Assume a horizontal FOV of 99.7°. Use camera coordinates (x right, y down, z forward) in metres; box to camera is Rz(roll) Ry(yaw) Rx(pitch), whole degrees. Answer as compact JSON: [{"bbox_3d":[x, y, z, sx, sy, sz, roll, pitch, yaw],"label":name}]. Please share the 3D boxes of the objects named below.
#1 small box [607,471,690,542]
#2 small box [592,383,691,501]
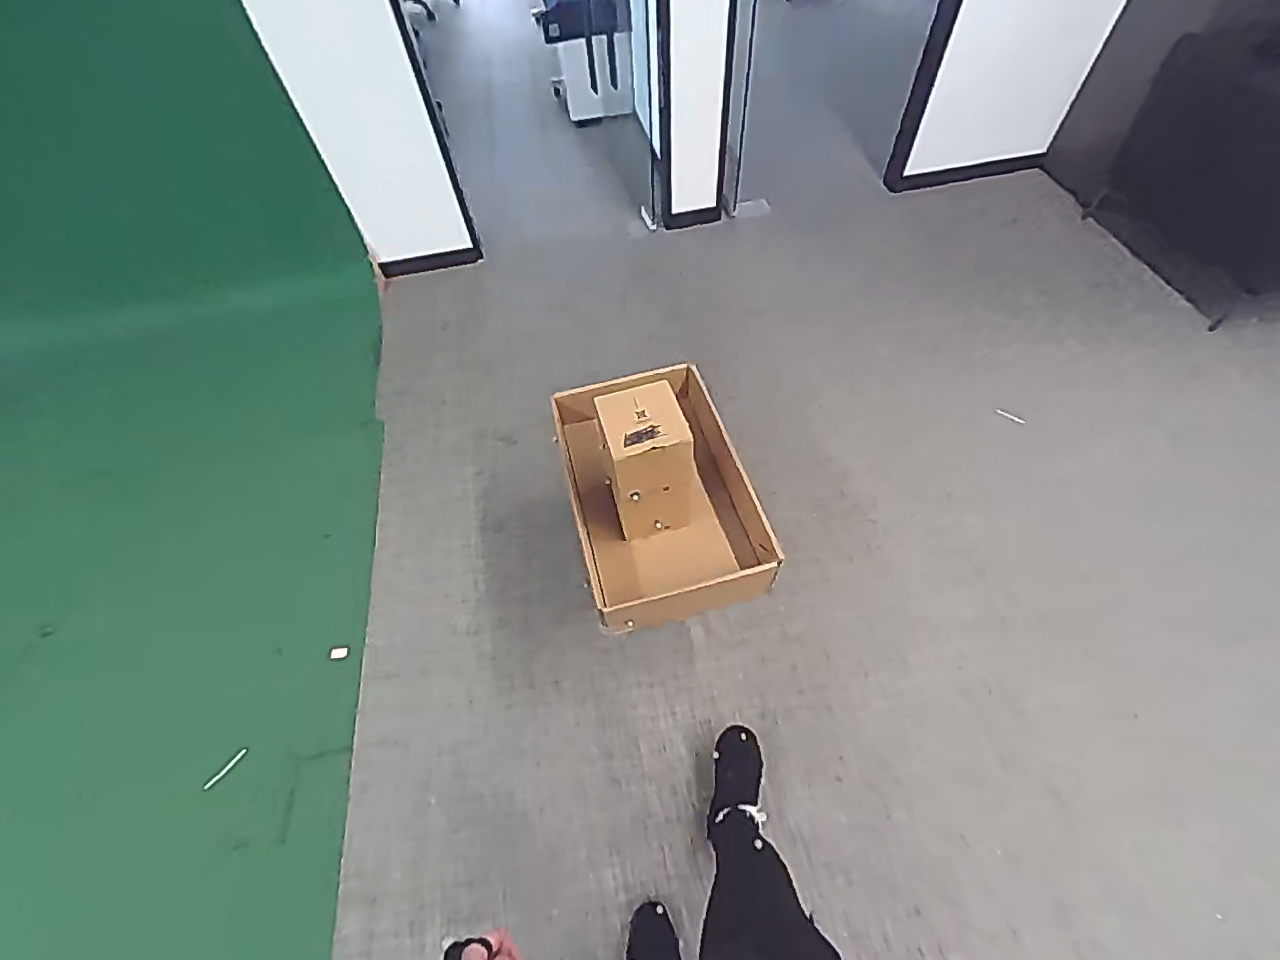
[{"bbox_3d":[0.015,0.020,1.287,0.168,0.176,0.179,-14,55,-5],"label":"small box"},{"bbox_3d":[0.006,-0.073,1.152,0.168,0.176,0.179,-15,55,-7],"label":"small box"}]
